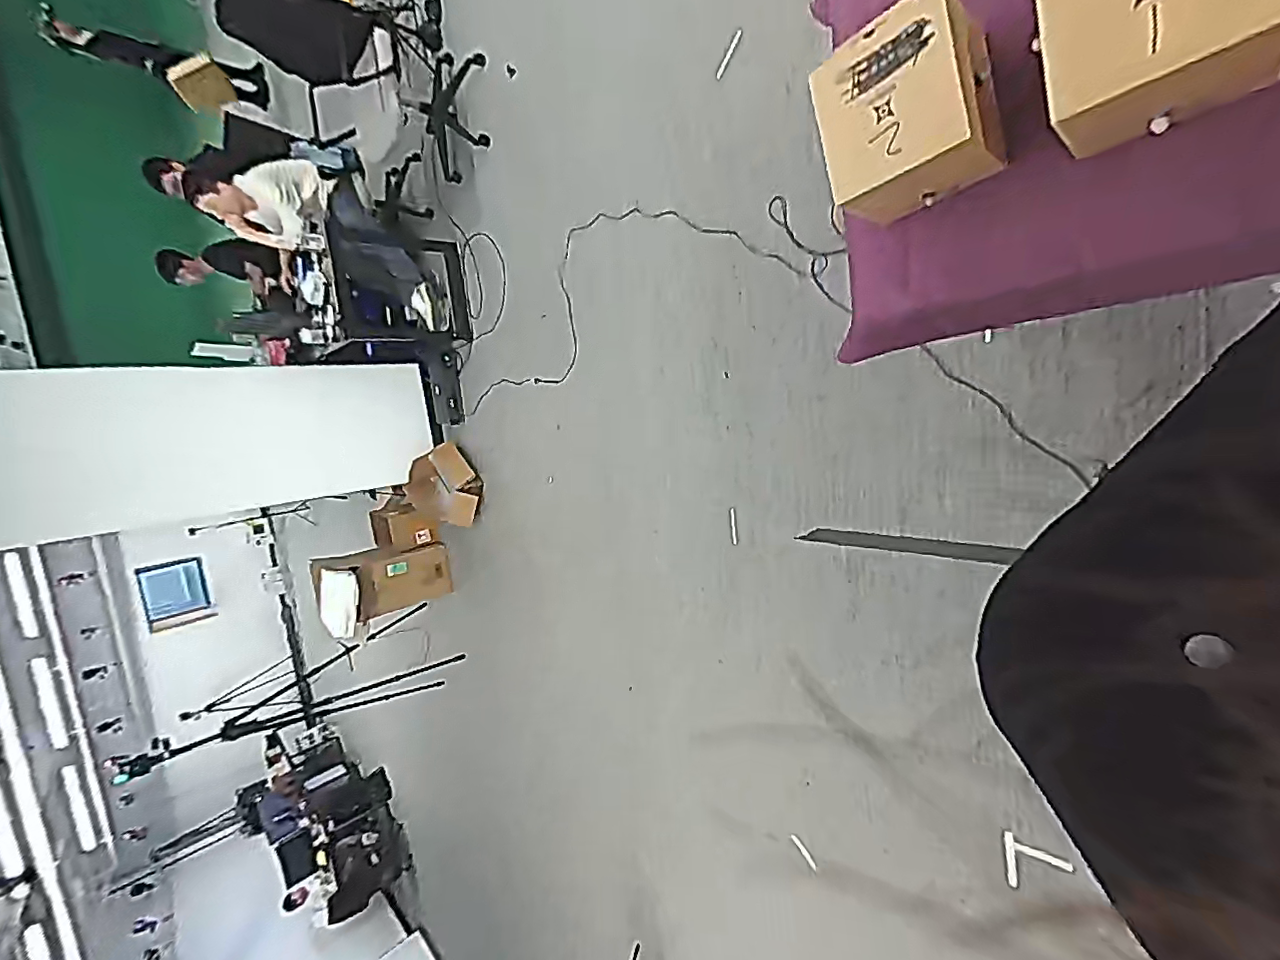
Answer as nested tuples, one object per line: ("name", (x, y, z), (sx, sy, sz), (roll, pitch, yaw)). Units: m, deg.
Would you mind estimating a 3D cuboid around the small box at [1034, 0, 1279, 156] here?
("small box", (0.512, -0.462, 0.538), (0.168, 0.176, 0.179), (-5, 97, 48))
